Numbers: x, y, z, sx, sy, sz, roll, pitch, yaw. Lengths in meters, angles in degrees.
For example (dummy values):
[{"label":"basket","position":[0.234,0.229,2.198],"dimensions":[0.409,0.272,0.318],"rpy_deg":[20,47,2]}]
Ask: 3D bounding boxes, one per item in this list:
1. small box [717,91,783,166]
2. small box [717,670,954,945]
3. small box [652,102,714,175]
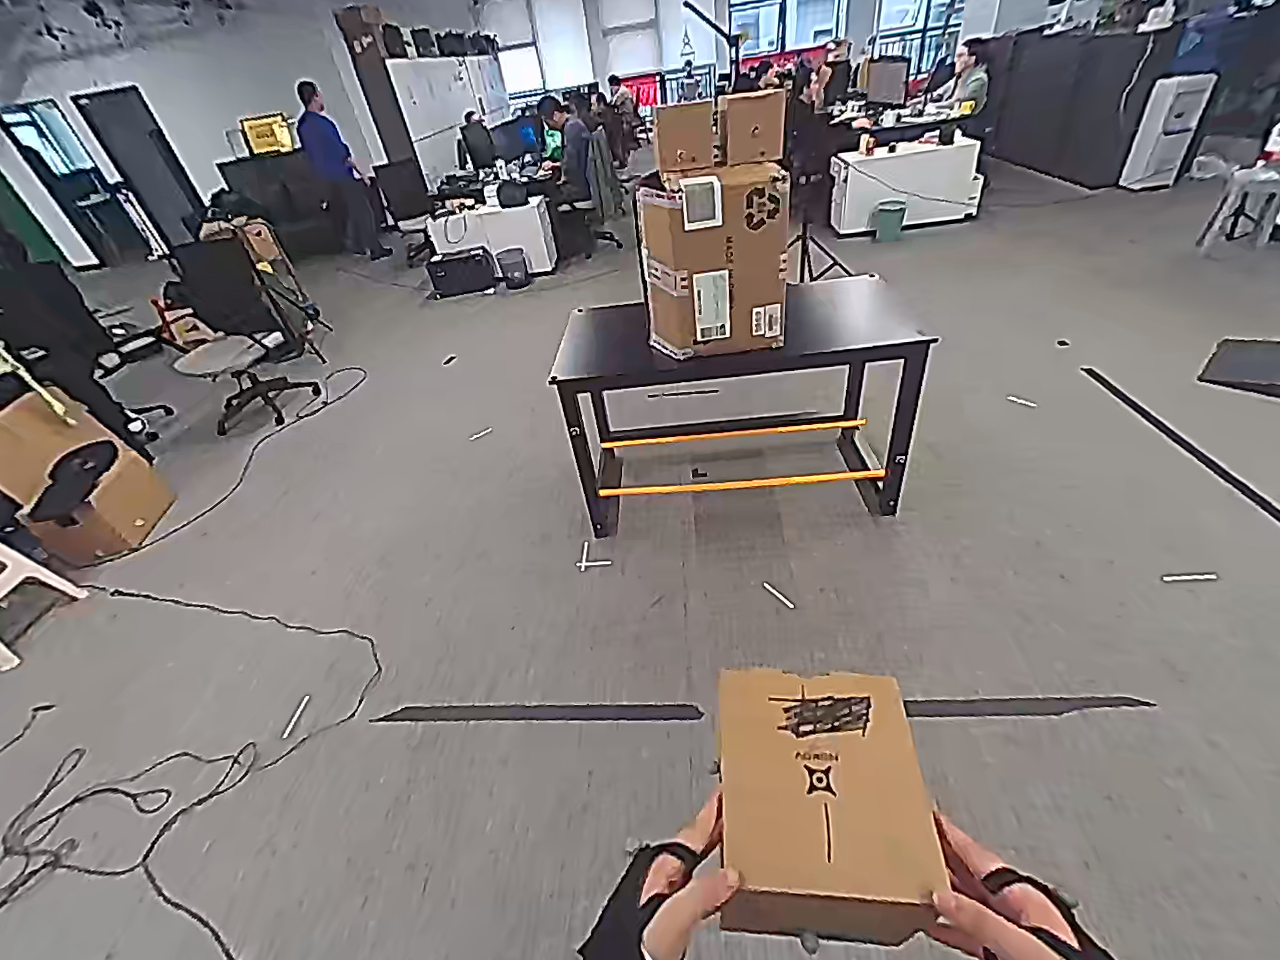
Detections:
[{"label":"small box","position":[0.327,-1.055,1.625],"dimensions":[0.168,0.176,0.179],"rpy_deg":[-5,38,1]},{"label":"small box","position":[0.158,0.305,0.511],"dimensions":[0.168,0.176,0.179],"rpy_deg":[0,42,7]},{"label":"small box","position":[0.129,-1.037,1.641],"dimensions":[0.168,0.176,0.179],"rpy_deg":[-8,36,1]}]
